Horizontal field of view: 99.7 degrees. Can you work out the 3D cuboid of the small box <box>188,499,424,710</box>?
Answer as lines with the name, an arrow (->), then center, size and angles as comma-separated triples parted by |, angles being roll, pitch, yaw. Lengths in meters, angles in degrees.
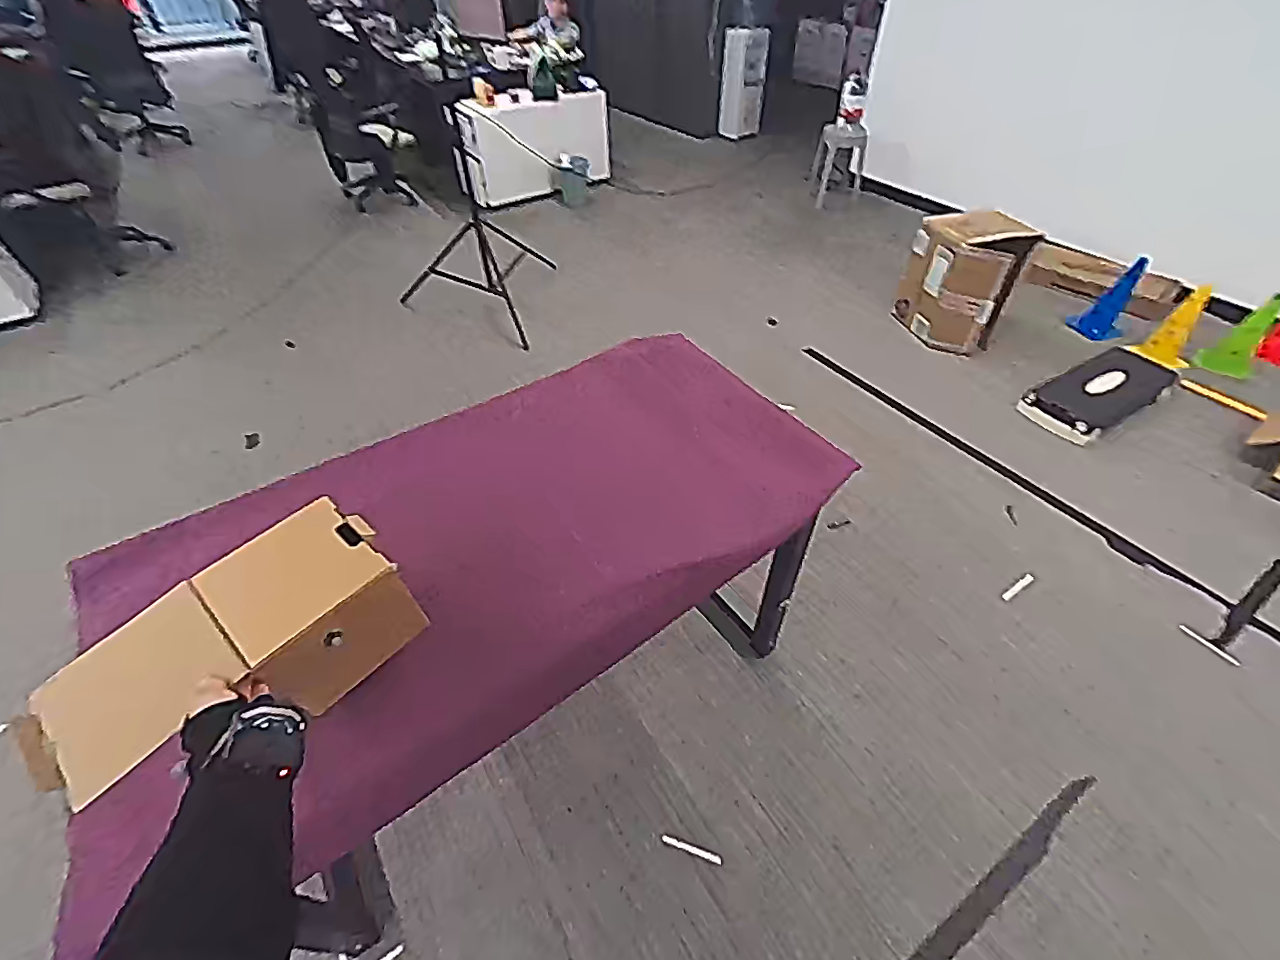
small box -> -0.420, 0.165, 0.708 | 0.168, 0.176, 0.179 | 34, 58, 24
